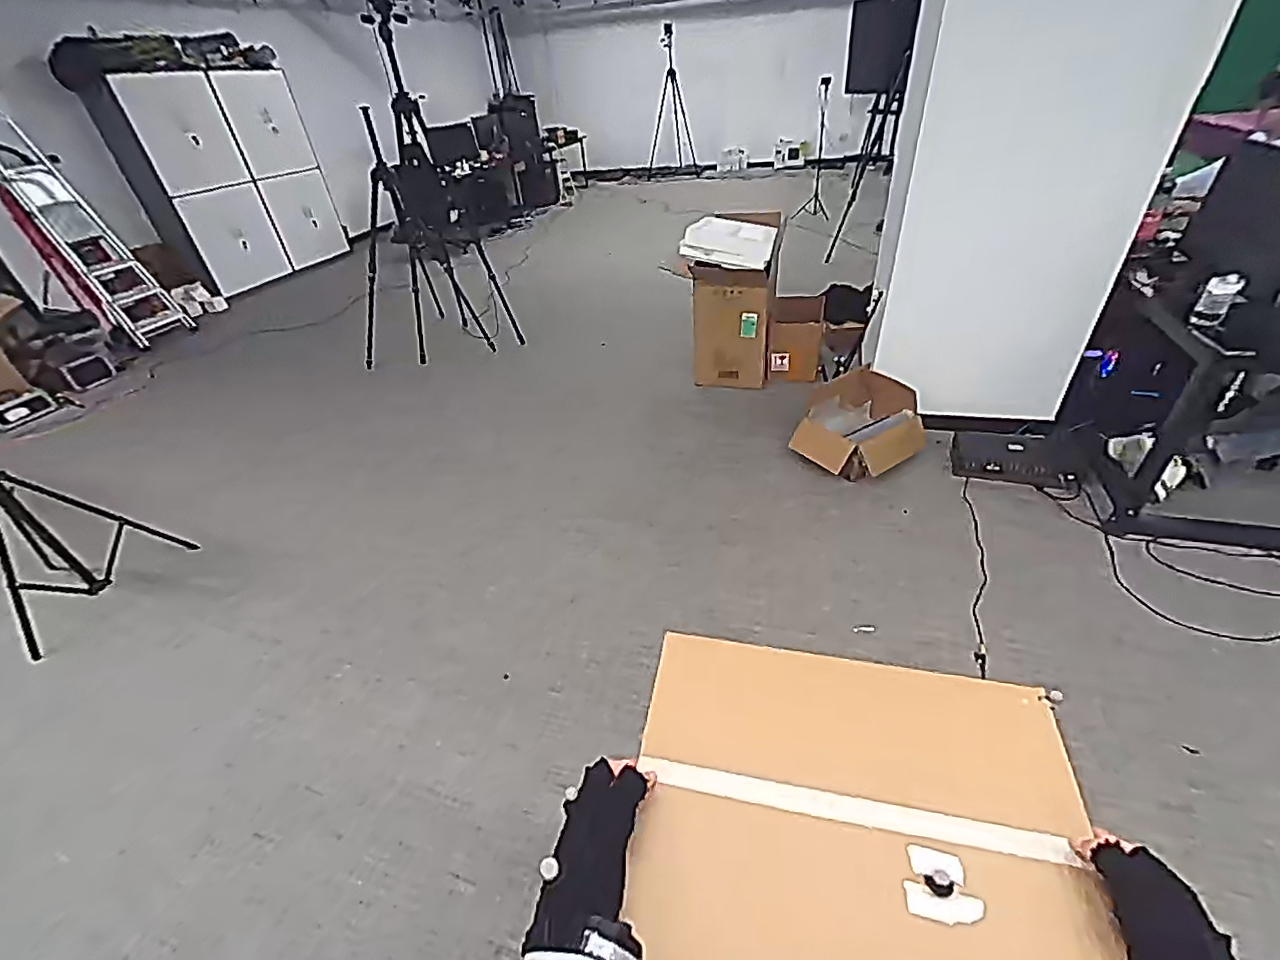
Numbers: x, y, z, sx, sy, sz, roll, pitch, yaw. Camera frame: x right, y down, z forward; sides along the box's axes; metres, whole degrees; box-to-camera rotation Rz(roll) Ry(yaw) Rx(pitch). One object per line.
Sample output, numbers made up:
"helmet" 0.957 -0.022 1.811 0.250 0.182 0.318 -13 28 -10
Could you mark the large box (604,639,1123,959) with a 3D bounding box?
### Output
"large box" 0.201 0.418 0.602 0.408 0.320 0.320 5 43 12
